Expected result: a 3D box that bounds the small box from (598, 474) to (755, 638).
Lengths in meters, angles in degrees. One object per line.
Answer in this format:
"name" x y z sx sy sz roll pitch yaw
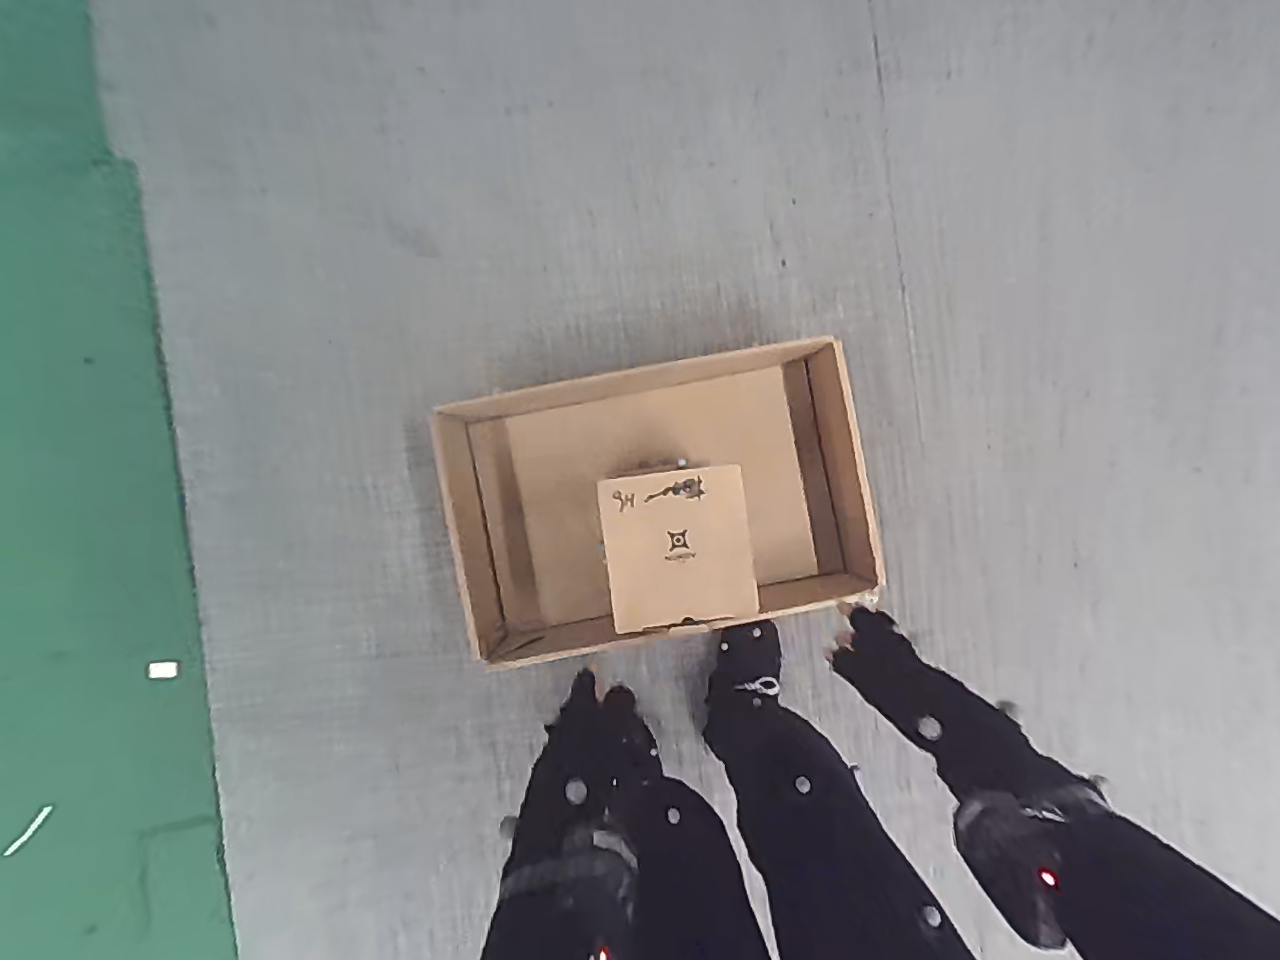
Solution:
"small box" 0.041 0.085 0.692 0.168 0.176 0.179 -7 90 -1
